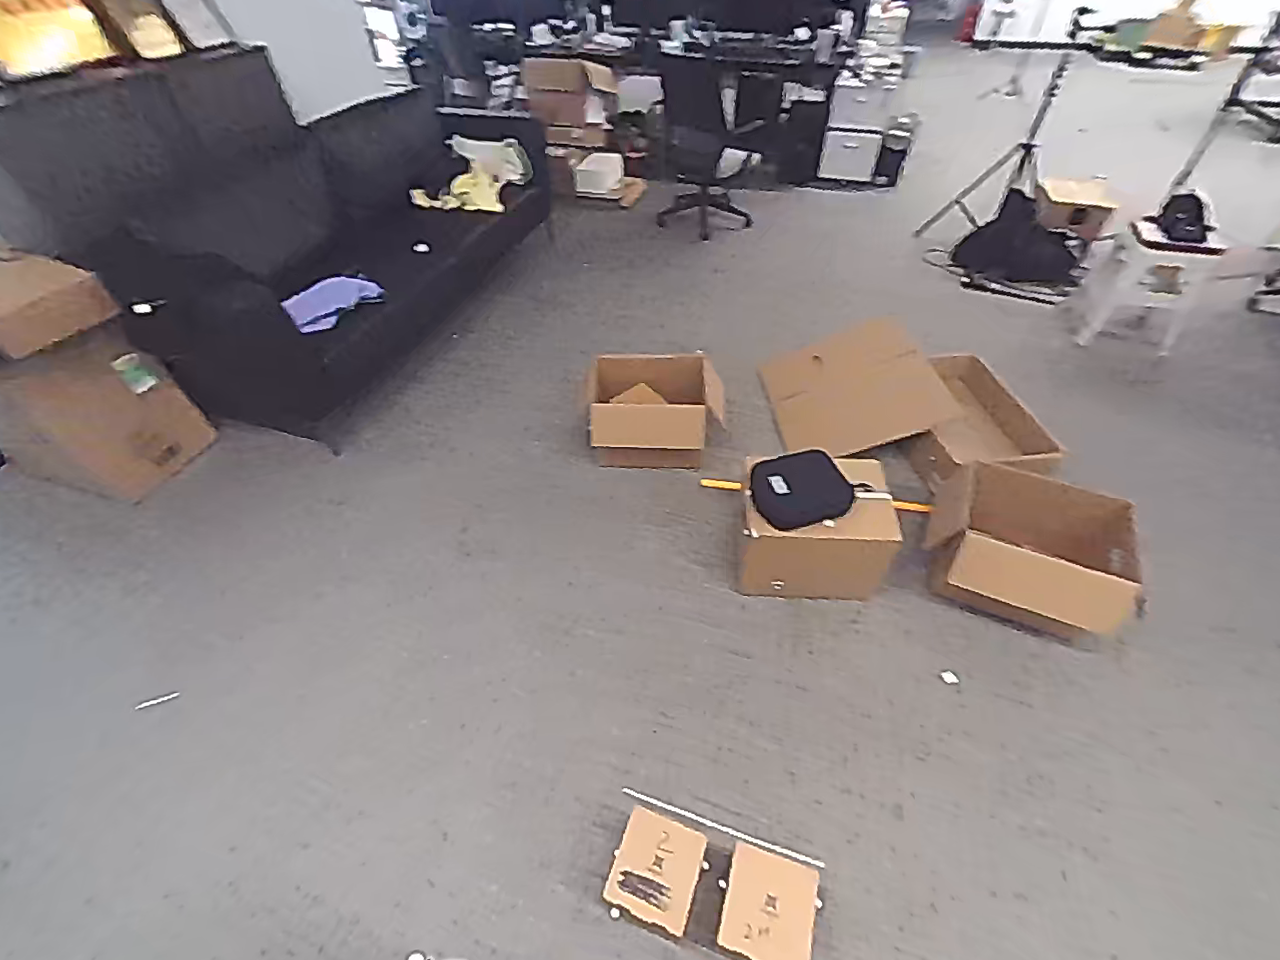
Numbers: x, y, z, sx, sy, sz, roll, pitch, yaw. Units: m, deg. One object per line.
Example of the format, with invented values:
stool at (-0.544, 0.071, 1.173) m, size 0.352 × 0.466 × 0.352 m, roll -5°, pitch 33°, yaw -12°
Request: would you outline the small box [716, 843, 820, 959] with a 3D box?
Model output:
small box at (0.251, 0.871, 1.081) m, size 0.168 × 0.176 × 0.179 m, roll 13°, pitch 48°, yaw 16°
